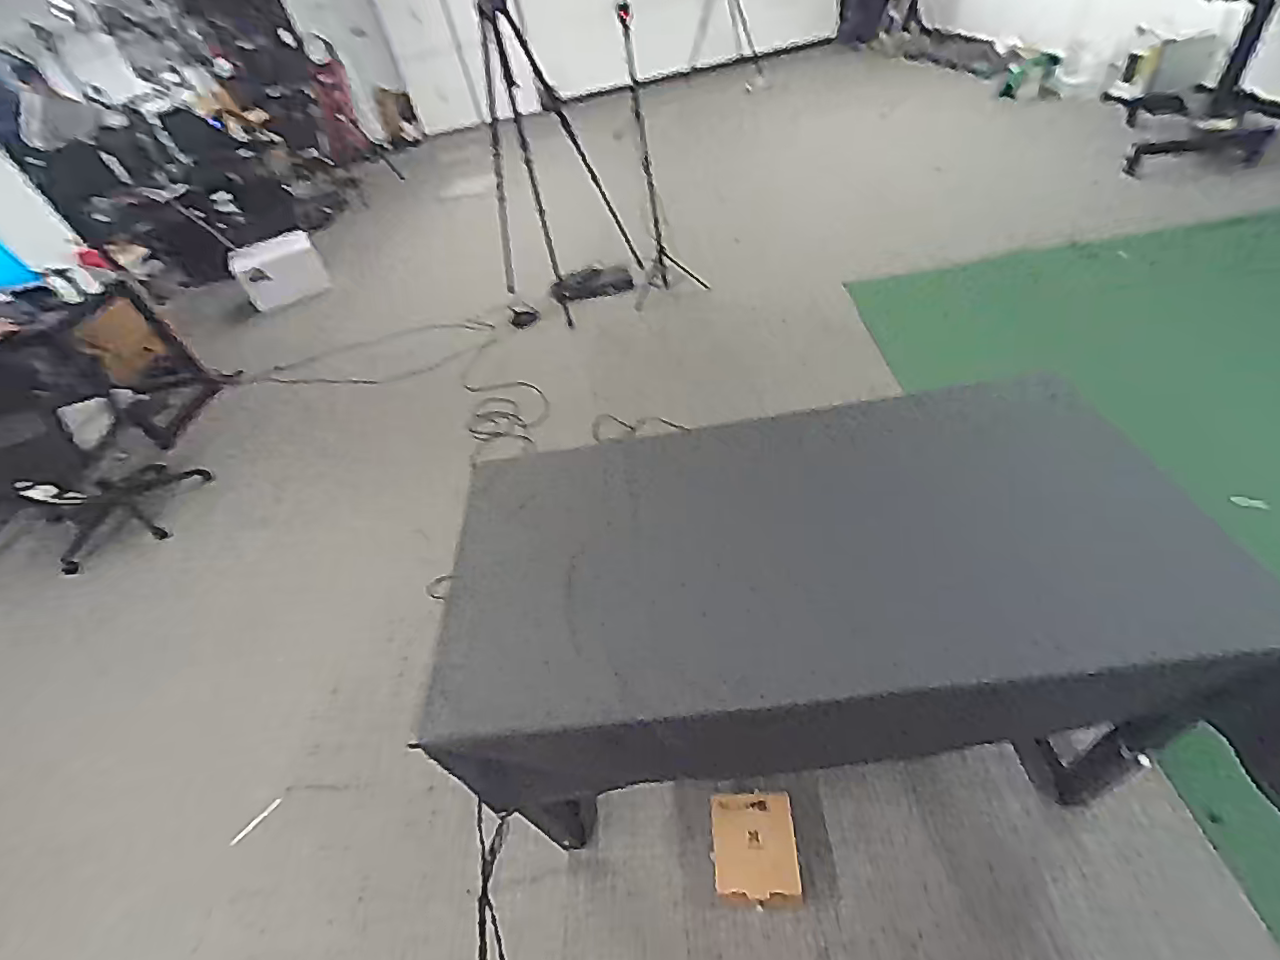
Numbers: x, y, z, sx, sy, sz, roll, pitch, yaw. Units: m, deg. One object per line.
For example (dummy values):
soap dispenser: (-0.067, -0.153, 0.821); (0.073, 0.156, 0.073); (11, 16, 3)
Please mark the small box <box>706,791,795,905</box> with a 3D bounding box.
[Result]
small box: (0.231, 0.775, 1.138); (0.168, 0.176, 0.179); (-6, 44, 9)
